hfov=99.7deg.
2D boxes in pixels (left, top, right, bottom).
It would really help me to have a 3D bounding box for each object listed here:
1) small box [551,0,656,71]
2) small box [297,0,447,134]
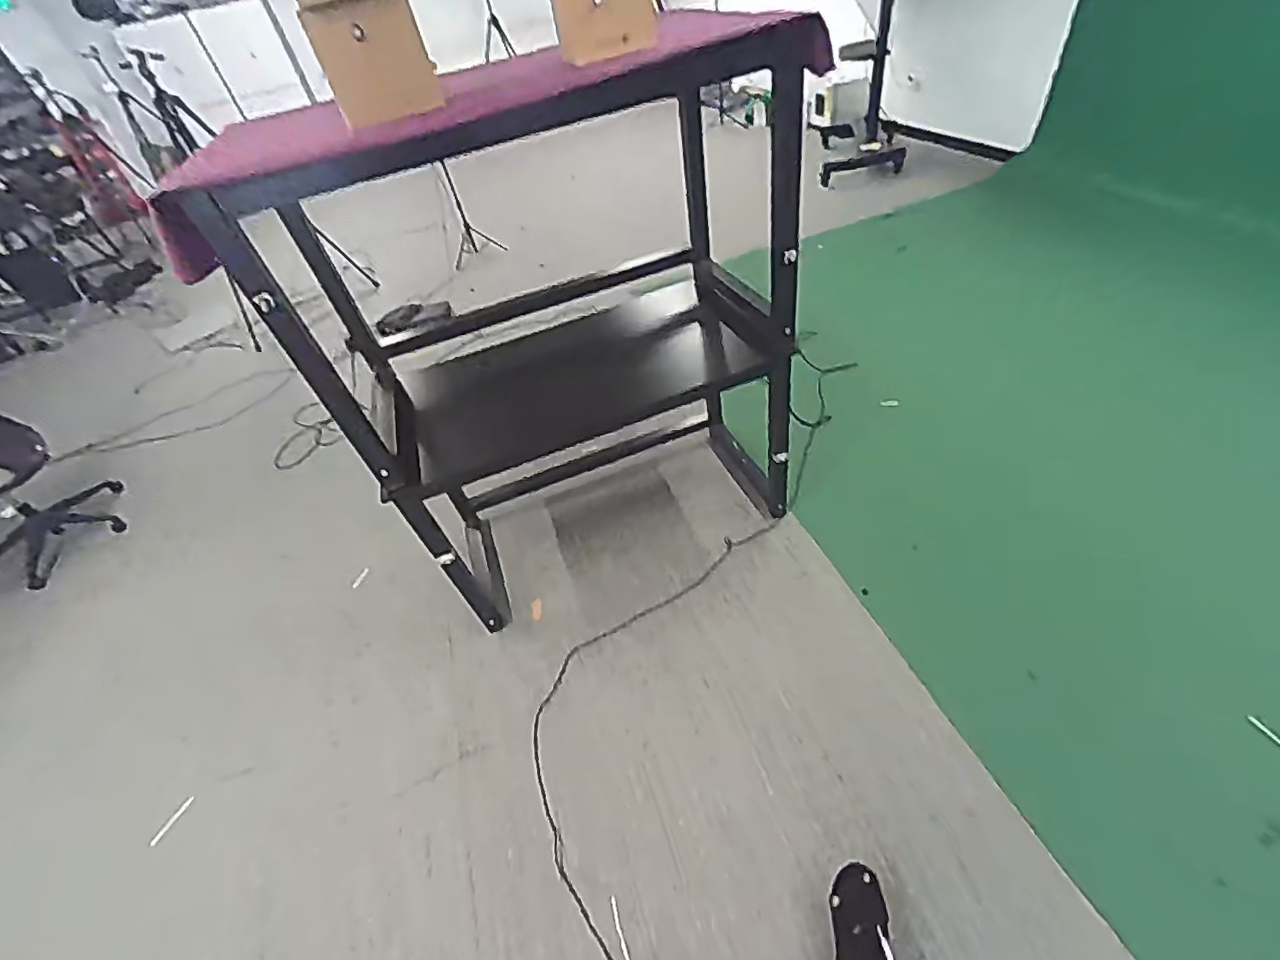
[{"bbox_3d":[-0.077,-0.930,1.065,0.168,0.176,0.179,-19,43,-5],"label":"small box"},{"bbox_3d":[-0.470,-0.738,0.962,0.179,0.176,0.168,-23,45,-10],"label":"small box"}]
